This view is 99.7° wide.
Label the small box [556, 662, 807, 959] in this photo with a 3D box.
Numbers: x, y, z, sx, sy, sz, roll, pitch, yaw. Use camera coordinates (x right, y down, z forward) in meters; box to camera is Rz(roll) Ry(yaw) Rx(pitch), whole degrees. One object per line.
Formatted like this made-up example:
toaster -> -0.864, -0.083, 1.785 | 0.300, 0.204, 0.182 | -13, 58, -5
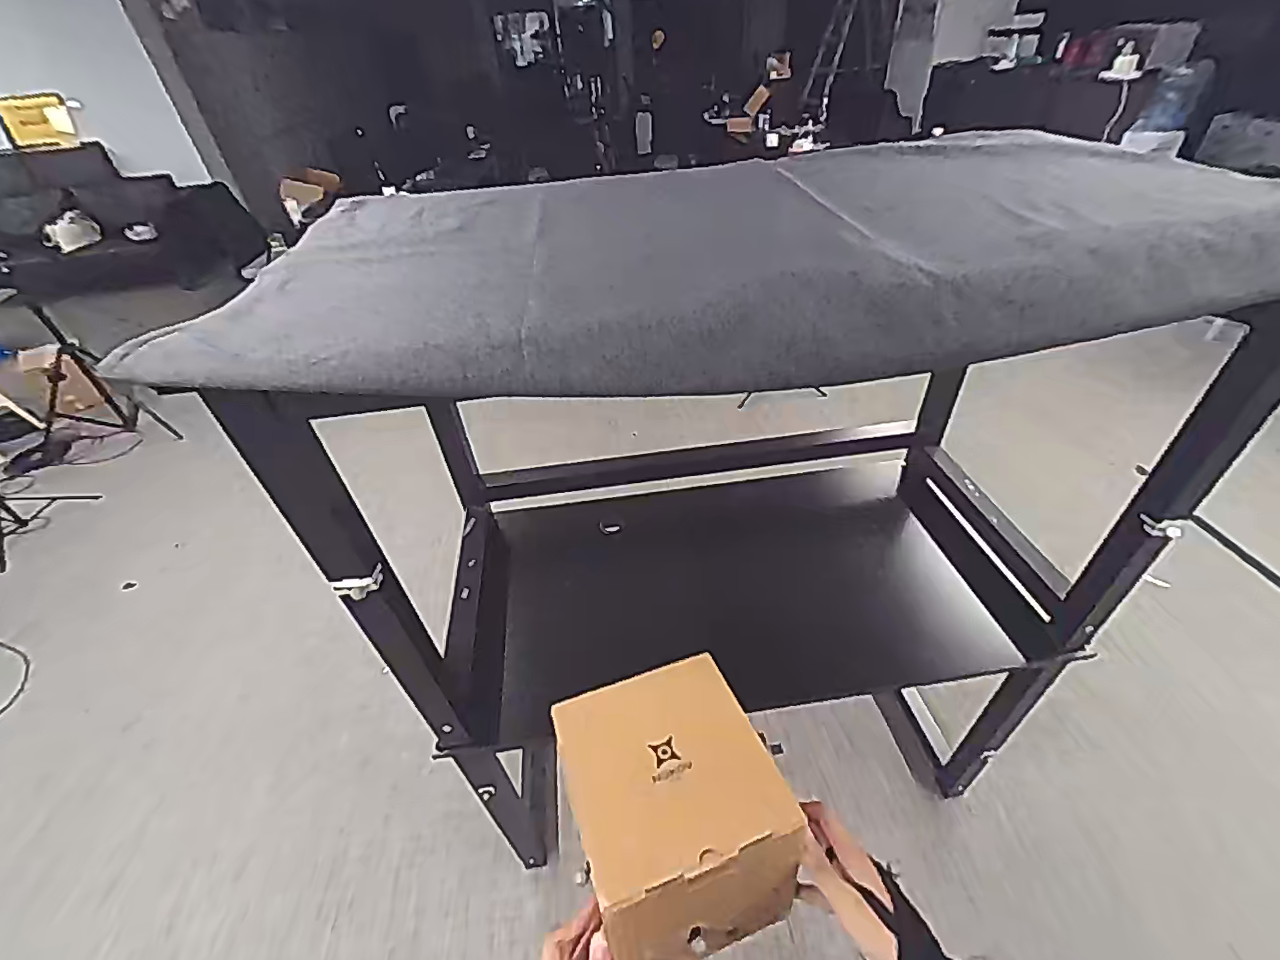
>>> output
small box -> 0.027, 0.309, 0.498 | 0.168, 0.176, 0.179 | -13, 33, -15
